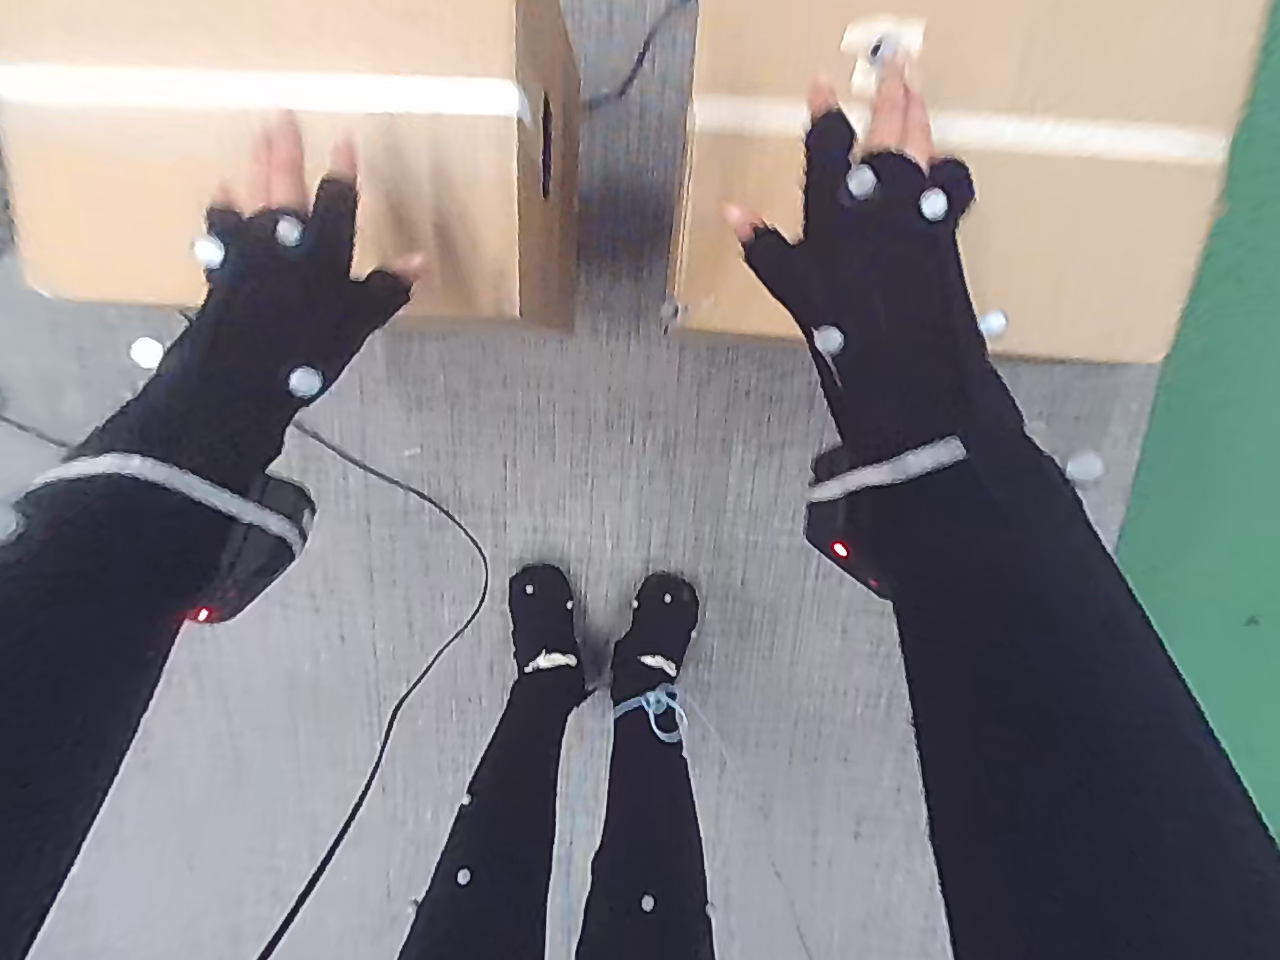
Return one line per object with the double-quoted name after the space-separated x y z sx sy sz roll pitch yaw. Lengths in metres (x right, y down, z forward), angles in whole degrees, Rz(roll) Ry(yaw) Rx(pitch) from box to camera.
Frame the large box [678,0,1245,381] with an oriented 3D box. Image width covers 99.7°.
0.258 -0.285 0.588 0.408 0.320 0.320 5 102 1 "large box"
